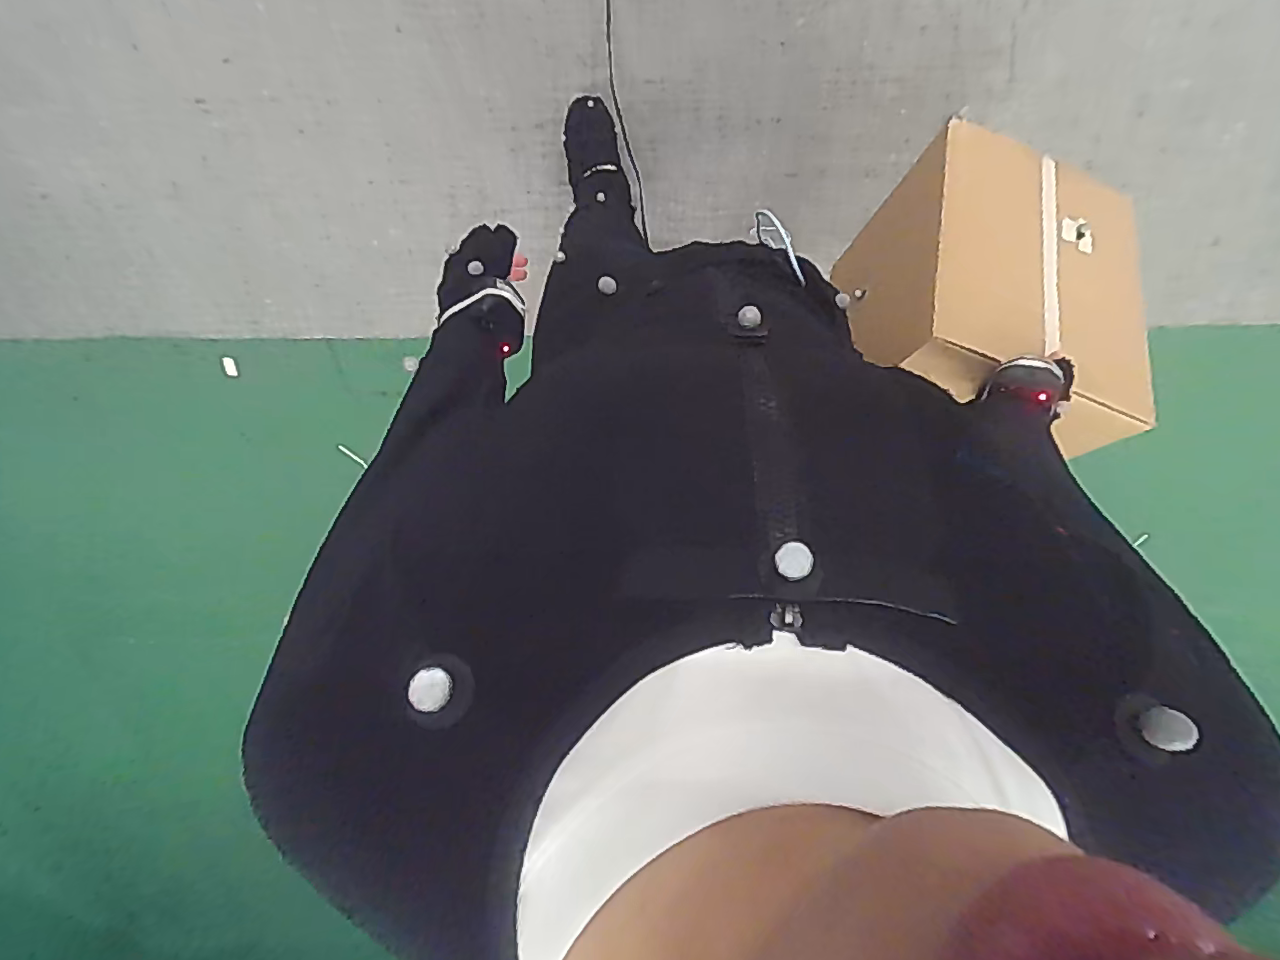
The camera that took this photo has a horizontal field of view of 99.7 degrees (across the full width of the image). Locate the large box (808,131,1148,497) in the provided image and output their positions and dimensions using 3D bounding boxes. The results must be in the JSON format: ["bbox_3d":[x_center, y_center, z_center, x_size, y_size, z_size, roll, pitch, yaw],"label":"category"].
[{"bbox_3d":[0.499,-0.236,0.862,0.320,0.408,0.320,19,157,-7],"label":"large box"}]
